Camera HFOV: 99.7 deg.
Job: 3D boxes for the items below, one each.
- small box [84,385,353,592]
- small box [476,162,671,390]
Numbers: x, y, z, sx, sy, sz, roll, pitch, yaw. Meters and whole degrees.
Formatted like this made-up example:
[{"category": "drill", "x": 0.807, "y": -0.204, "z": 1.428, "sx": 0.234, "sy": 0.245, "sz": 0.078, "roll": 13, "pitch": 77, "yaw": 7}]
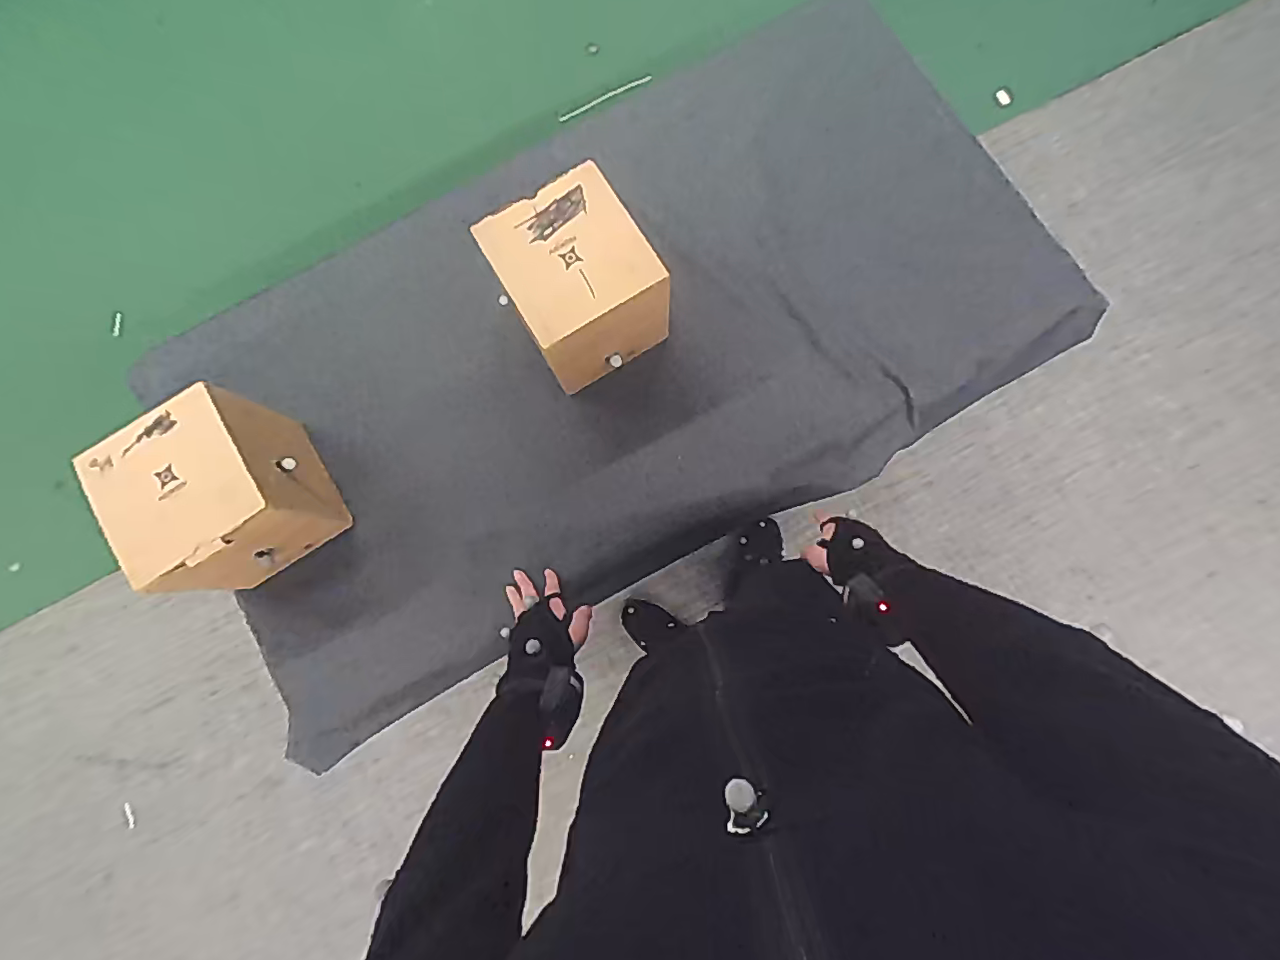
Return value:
[{"category": "small box", "x": -0.500, "y": 0.017, "z": 0.670, "sx": 0.168, "sy": 0.176, "sz": 0.179, "roll": -33, "pitch": 81, "yaw": -3}, {"category": "small box", "x": -0.075, "y": -0.244, "z": 0.688, "sx": 0.168, "sy": 0.176, "sz": 0.179, "roll": -31, "pitch": 82, "yaw": -2}]
